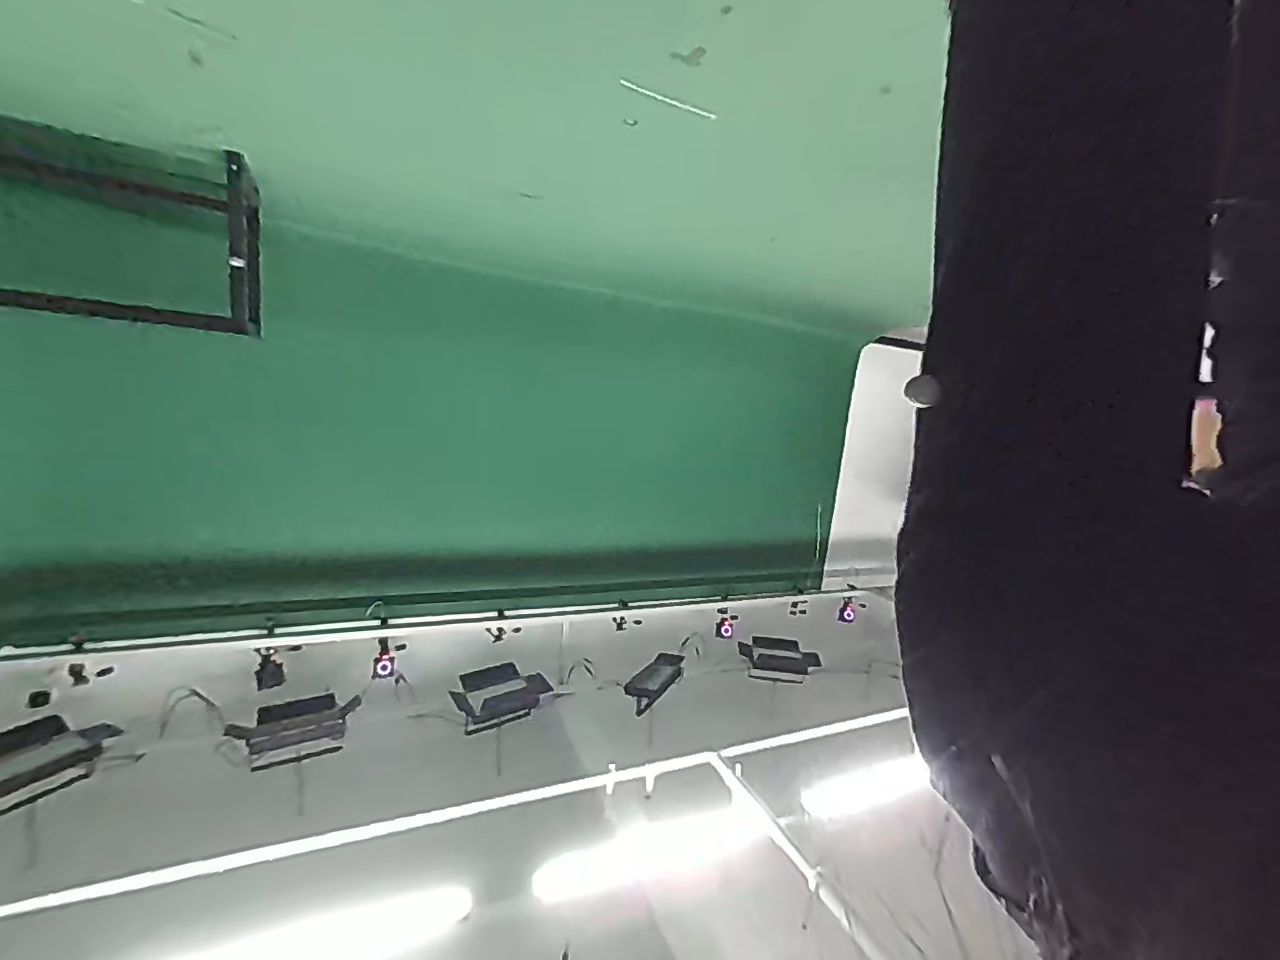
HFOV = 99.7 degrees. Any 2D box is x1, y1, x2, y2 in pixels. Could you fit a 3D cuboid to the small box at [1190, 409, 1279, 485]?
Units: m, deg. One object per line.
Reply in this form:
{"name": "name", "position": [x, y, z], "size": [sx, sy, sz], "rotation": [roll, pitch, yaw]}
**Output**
{"name": "small box", "position": [1.481, -0.080, 1.290], "size": [0.168, 0.176, 0.179], "rotation": [3, -171, -24]}
